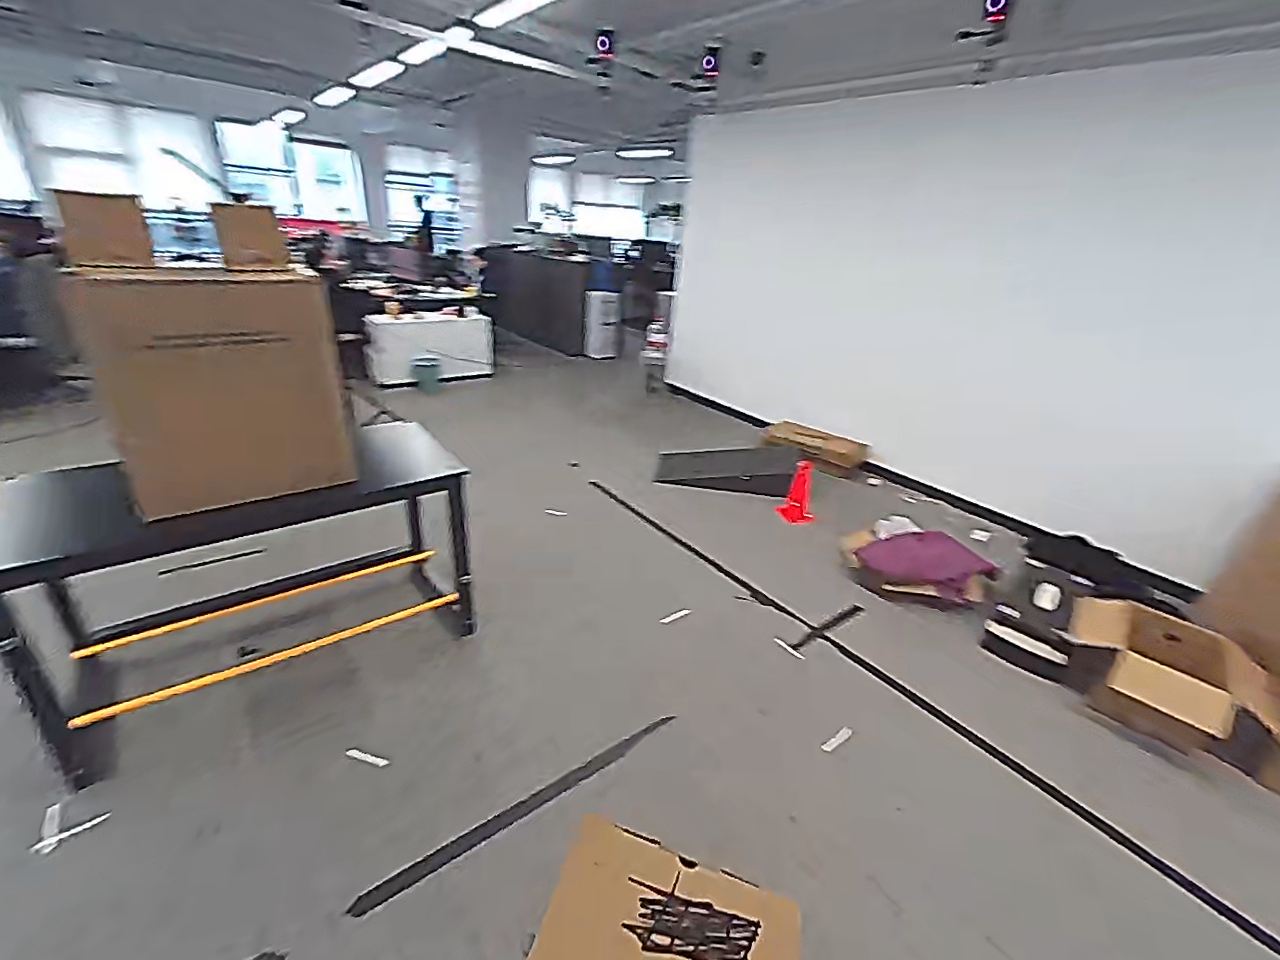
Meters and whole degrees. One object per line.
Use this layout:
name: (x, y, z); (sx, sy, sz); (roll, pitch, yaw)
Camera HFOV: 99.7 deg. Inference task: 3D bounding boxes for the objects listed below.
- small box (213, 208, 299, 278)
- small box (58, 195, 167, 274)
small box: (-1.092, -0.674, 1.537); (0.168, 0.176, 0.179); (-16, 31, -33)
small box: (-1.347, -0.629, 1.393); (0.168, 0.176, 0.179); (-14, 30, -37)
